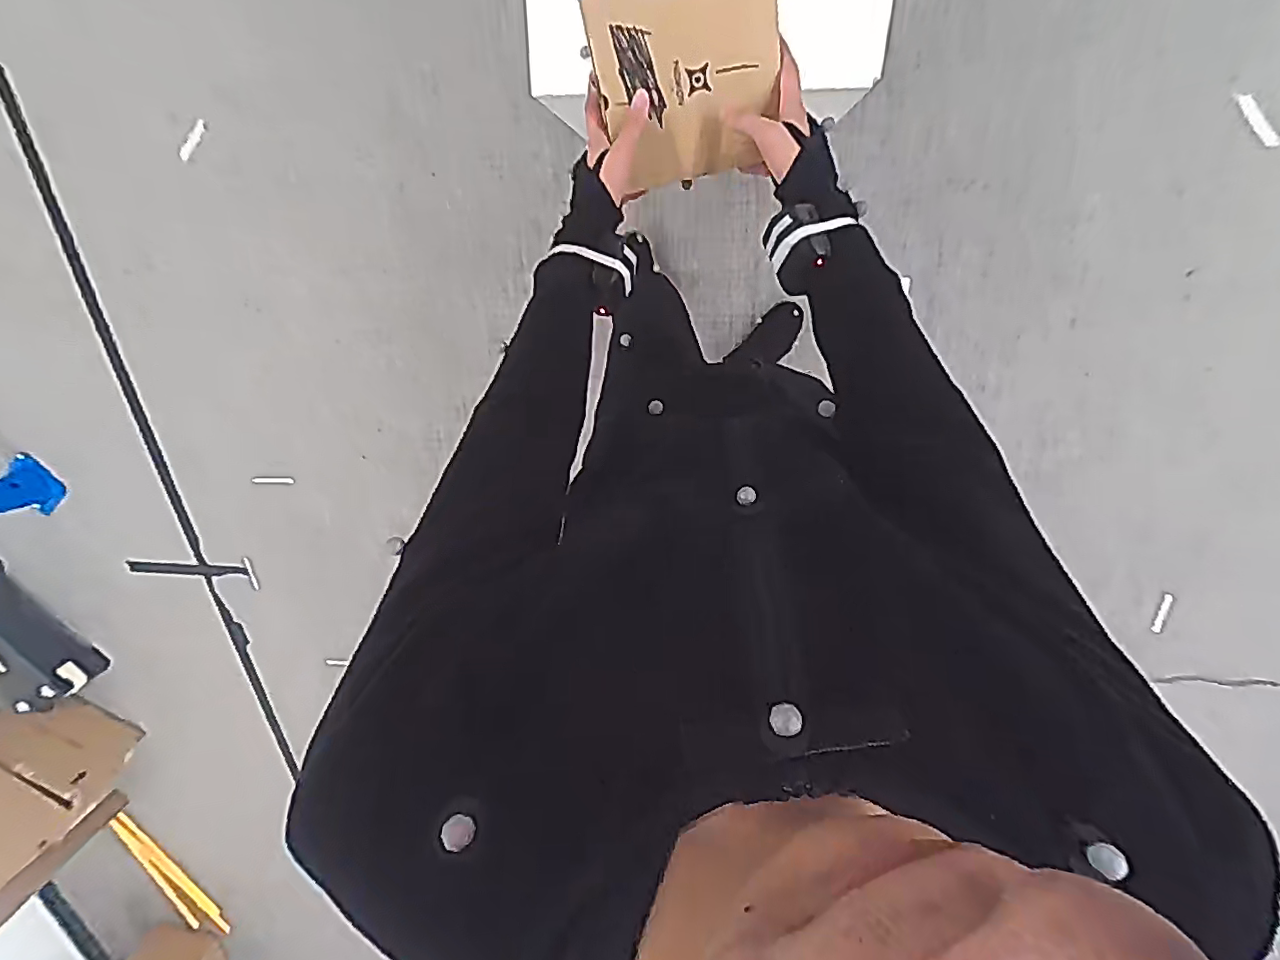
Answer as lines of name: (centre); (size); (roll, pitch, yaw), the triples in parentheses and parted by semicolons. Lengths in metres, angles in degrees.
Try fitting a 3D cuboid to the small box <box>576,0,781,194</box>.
small box: (0.041, -0.424, 0.581); (0.179, 0.176, 0.168); (-11, 124, 5)
